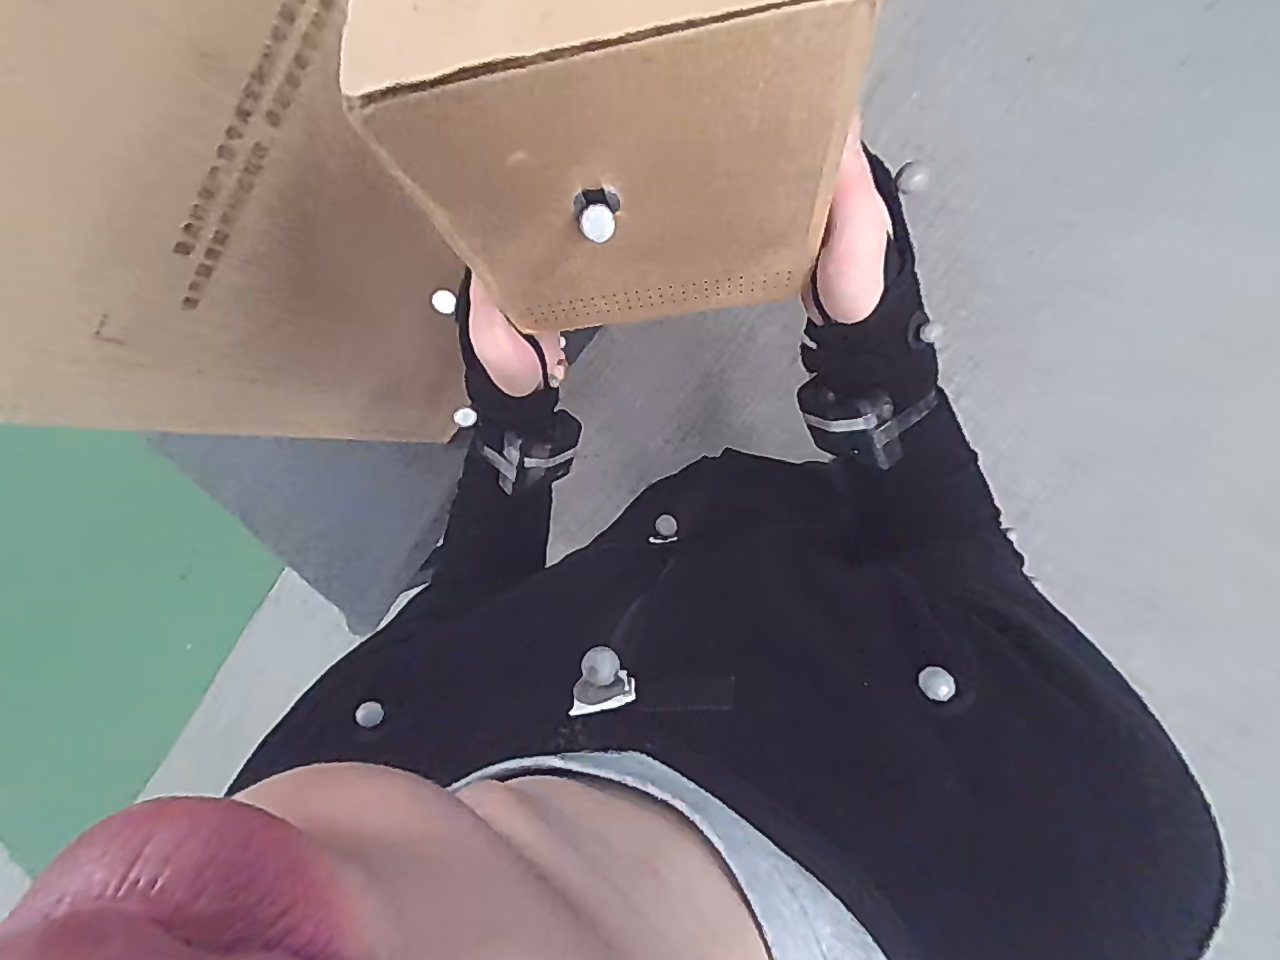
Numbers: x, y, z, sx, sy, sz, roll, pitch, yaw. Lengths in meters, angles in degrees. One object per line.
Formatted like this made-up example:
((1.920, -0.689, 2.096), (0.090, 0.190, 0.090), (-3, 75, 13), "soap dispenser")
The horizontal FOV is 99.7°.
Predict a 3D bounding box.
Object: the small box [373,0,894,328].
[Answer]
((0.004, -0.192, 0.265), (0.179, 0.176, 0.168), (-6, 76, 9), "small box")
